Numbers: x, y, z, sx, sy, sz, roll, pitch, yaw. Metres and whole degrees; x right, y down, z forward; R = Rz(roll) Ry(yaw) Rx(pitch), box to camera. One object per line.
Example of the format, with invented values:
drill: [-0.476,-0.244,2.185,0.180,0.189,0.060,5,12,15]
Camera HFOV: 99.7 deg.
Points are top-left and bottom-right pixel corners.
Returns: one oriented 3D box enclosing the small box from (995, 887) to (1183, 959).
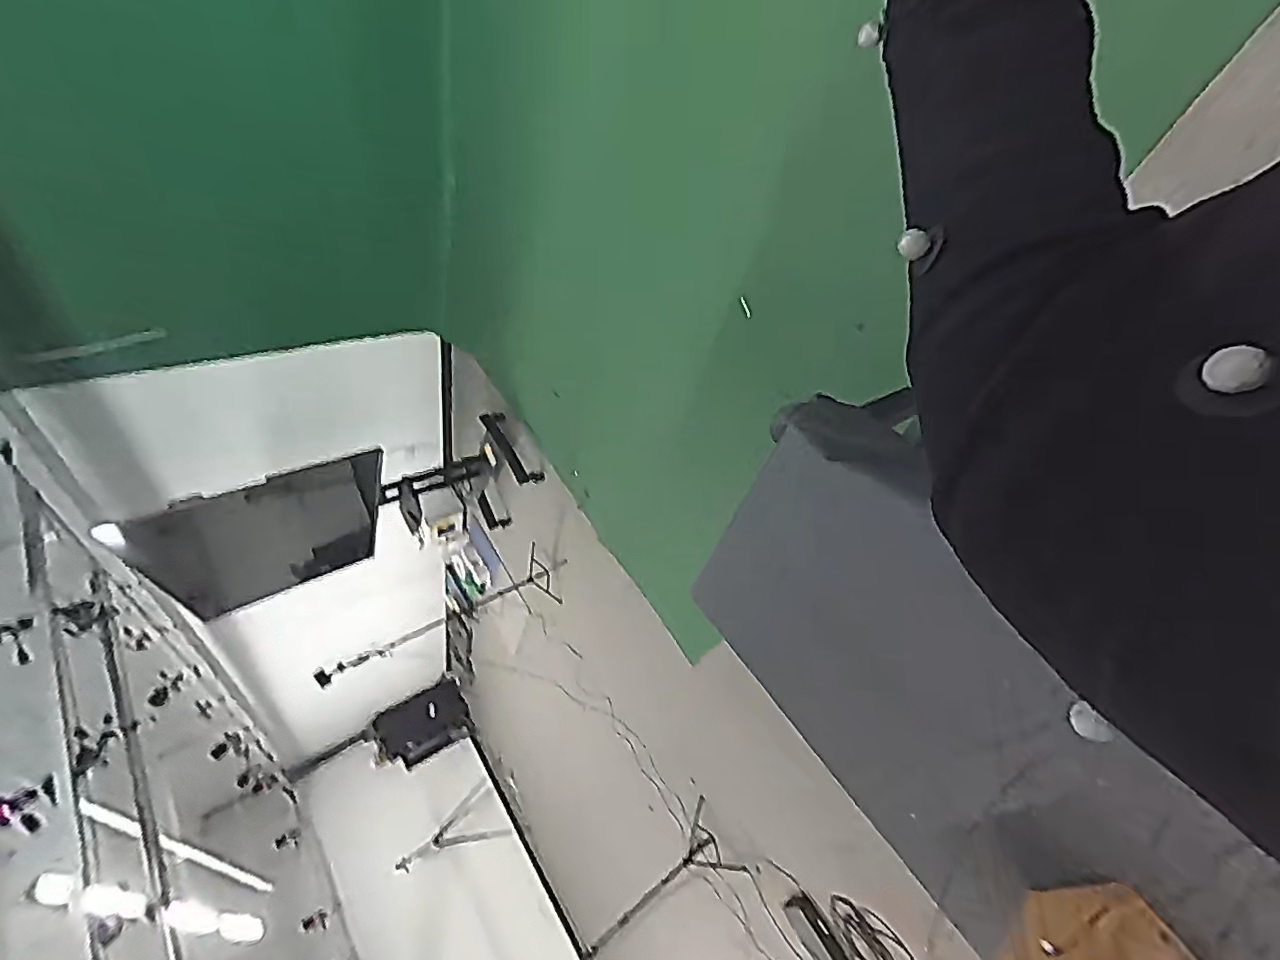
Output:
small box: [0.630,0.698,0.740,0.168,0.176,0.179,51,144,25]
